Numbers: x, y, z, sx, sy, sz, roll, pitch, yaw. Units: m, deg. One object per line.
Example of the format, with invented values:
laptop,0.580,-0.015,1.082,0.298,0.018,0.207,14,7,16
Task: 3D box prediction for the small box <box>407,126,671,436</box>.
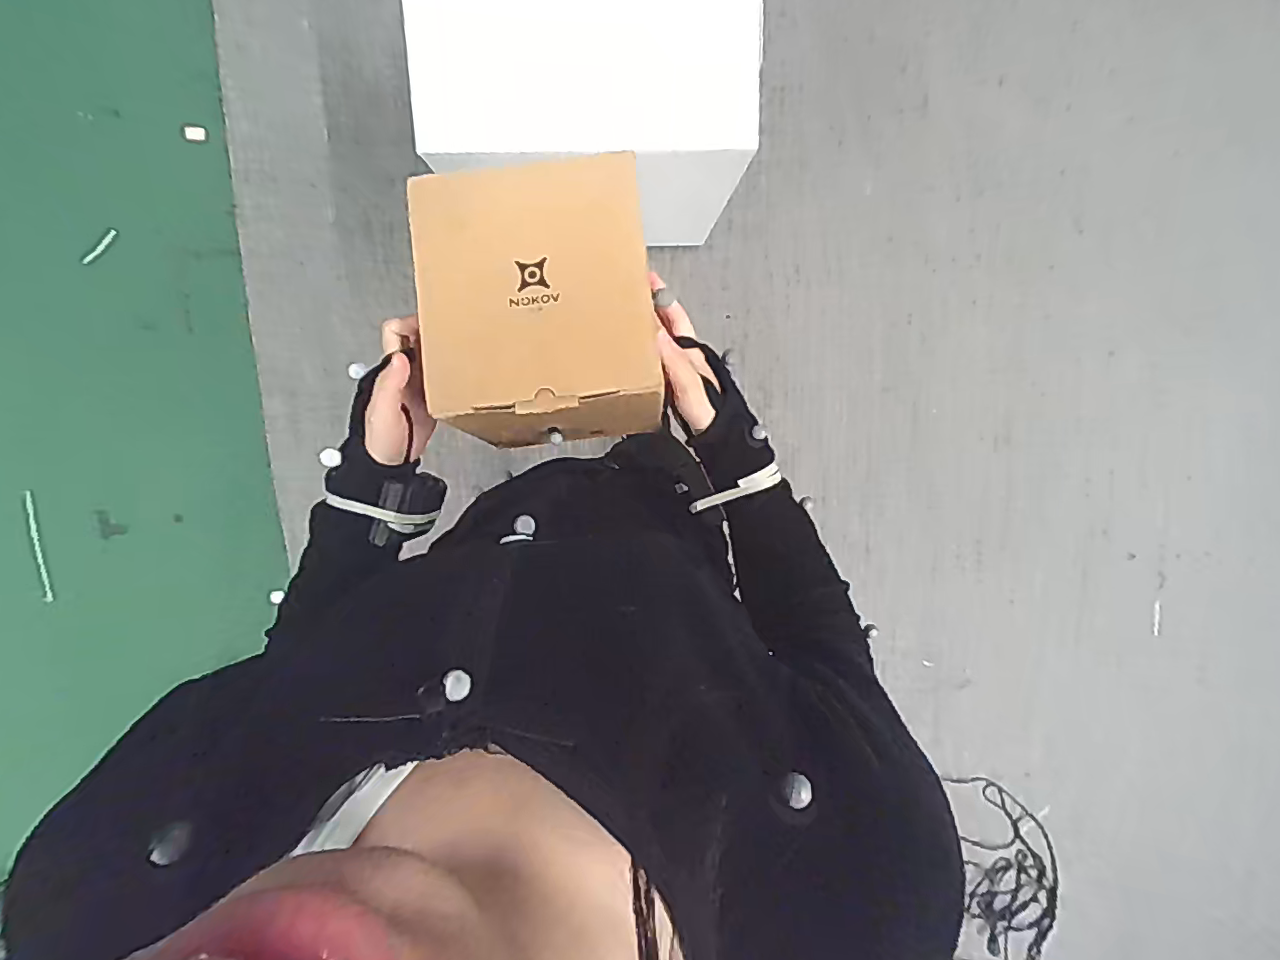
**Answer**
small box,-0.069,-0.142,0.443,0.168,0.176,0.179,-7,86,1
